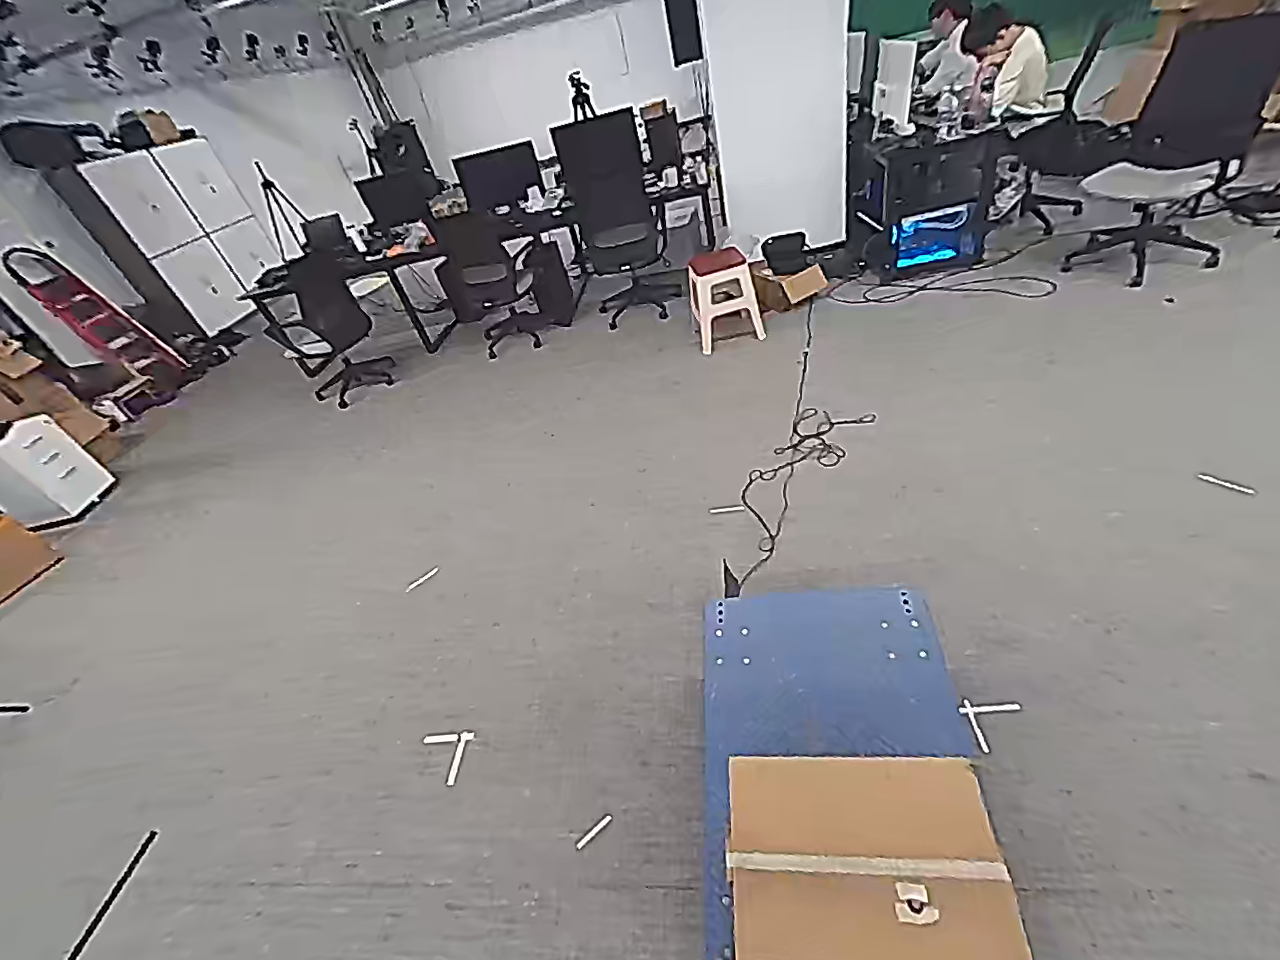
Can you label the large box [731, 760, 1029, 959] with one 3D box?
[{"bbox_3d":[0.386,0.709,0.962,0.408,0.320,0.320,-7,49,13],"label":"large box"}]
